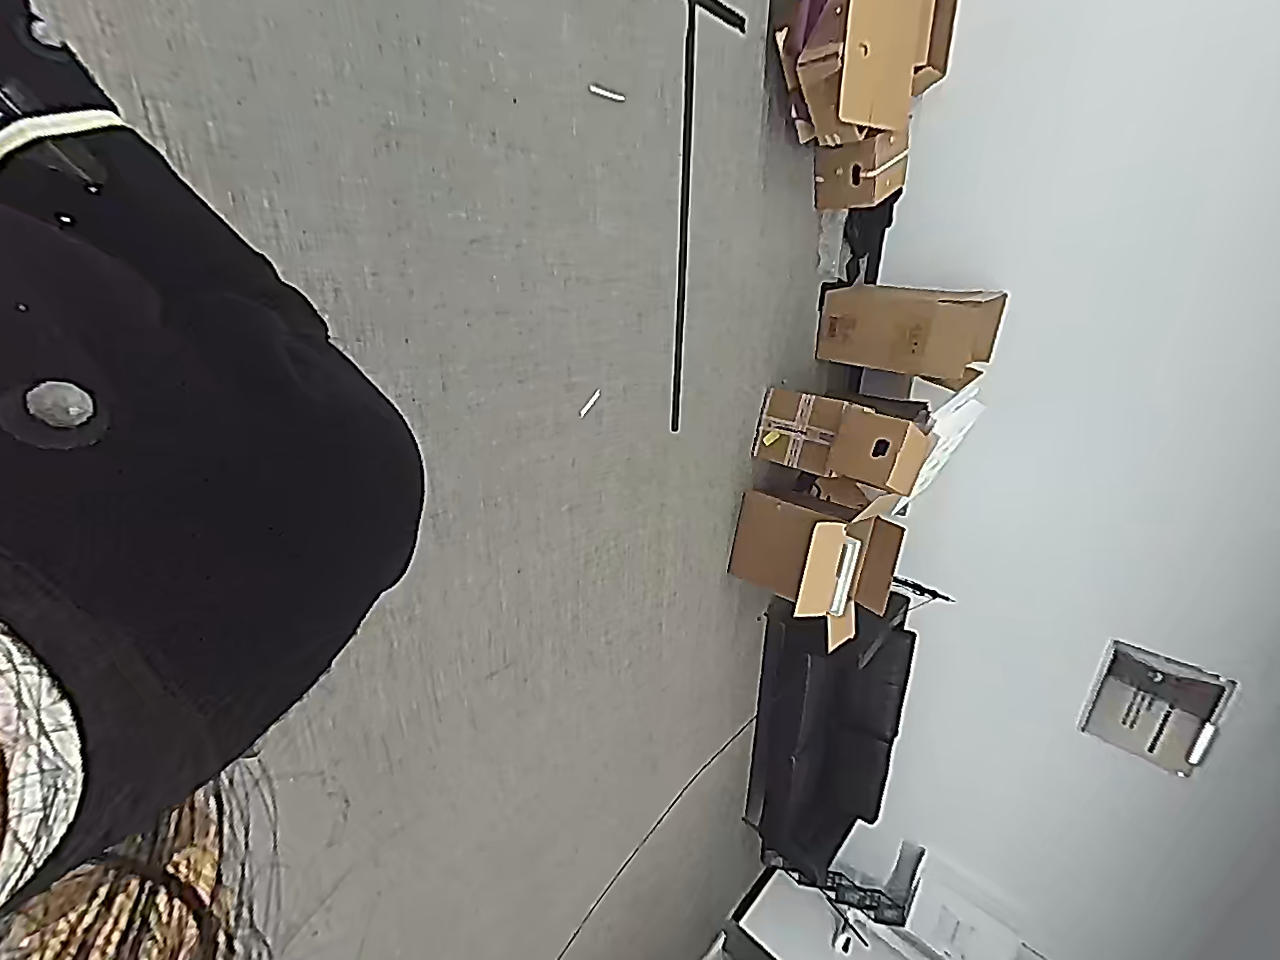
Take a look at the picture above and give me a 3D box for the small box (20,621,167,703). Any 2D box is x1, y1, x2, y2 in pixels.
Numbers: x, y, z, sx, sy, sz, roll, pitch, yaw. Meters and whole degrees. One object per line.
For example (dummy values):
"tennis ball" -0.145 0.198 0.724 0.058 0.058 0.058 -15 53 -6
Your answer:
"small box" -1.010 0.385 1.006 0.179 0.176 0.168 -8 110 -49

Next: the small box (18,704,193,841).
"small box" -0.776 0.473 0.797 0.168 0.176 0.179 -13 113 -48

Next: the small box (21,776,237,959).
"small box" -0.655 0.521 0.697 0.168 0.176 0.179 -16 115 -47

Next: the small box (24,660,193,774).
"small box" -0.890 0.433 0.909 0.179 0.176 0.168 -12 112 -47

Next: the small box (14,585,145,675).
"small box" -1.132 0.336 1.105 0.179 0.176 0.168 -12 114 -47
